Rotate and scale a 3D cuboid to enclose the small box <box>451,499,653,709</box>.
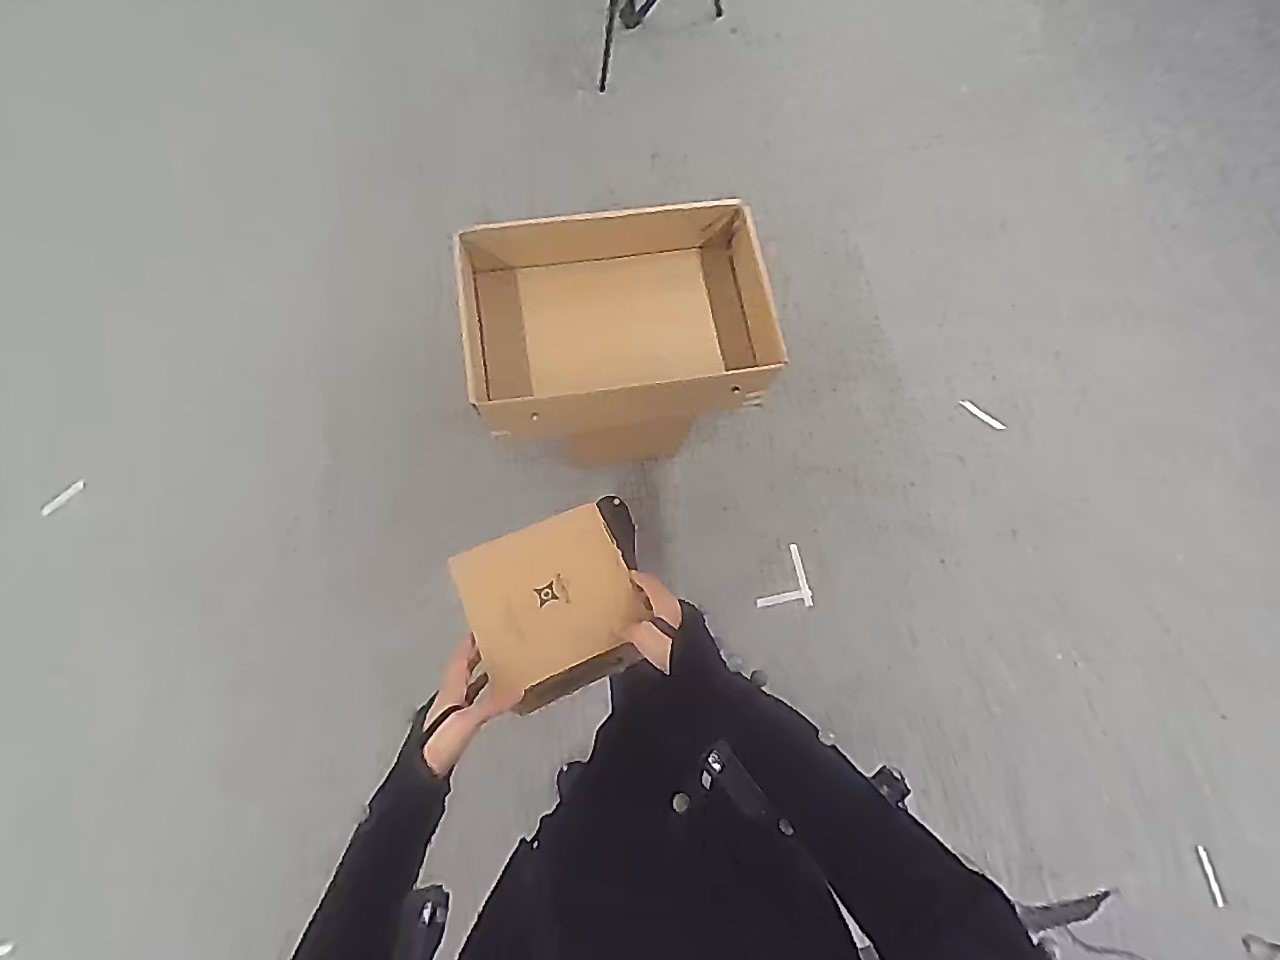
[{"bbox_3d":[-0.103,0.153,0.649,0.179,0.176,0.168,-21,64,-15],"label":"small box"}]
